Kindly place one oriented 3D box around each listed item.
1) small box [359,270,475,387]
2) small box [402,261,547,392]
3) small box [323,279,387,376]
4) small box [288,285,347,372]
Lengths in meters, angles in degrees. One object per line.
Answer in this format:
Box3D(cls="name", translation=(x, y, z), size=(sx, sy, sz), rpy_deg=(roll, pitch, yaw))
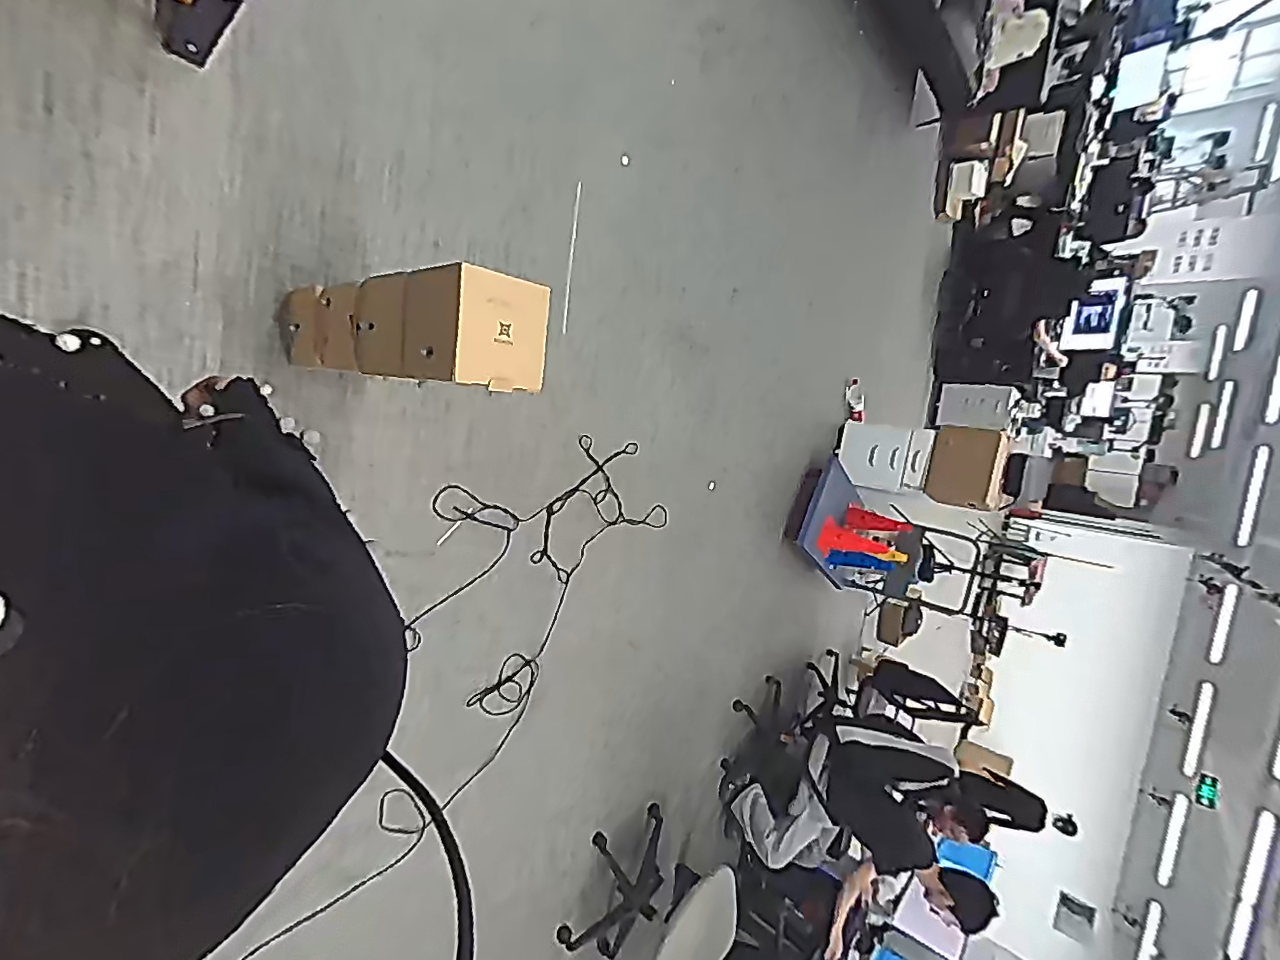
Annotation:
Box3D(cls="small box", translation=(-0.399, -0.273, 0.997), size=(0.168, 0.176, 0.179), rpy_deg=(-3, 103, -49))
Box3D(cls="small box", translation=(-0.276, -0.244, 0.894), size=(0.168, 0.176, 0.179), rpy_deg=(-3, 101, -49))
Box3D(cls="small box", translation=(-0.524, -0.298, 1.100), size=(0.179, 0.176, 0.168), rpy_deg=(-4, 103, -50))
Box3D(cls="small box", translation=(-0.654, -0.325, 1.197), size=(0.179, 0.176, 0.168), rpy_deg=(-5, 102, -48))
